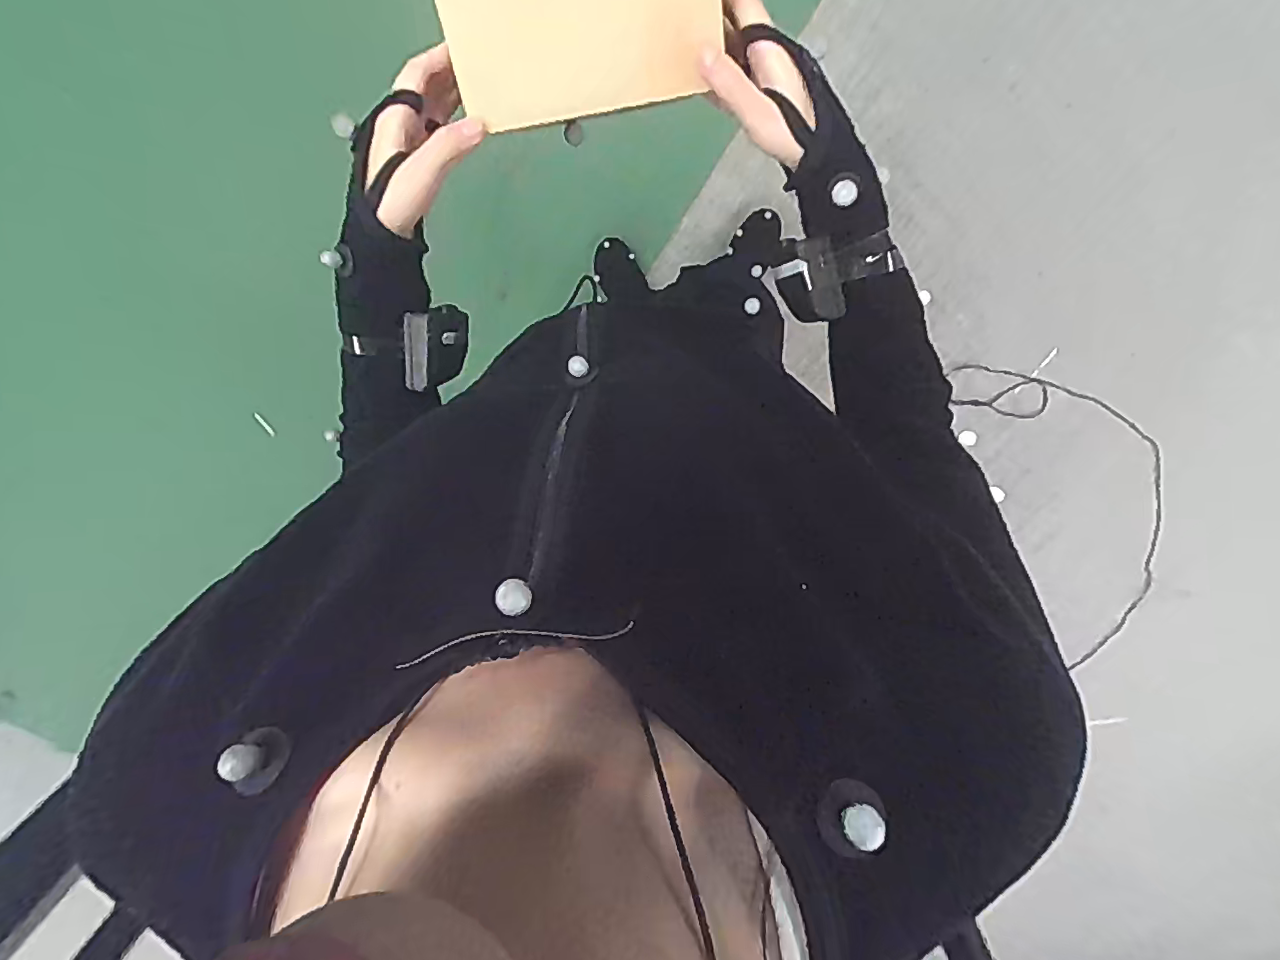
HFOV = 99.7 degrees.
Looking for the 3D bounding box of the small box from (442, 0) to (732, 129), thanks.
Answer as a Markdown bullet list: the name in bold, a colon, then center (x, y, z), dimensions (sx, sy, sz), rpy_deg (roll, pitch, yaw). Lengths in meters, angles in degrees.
- **small box**: center (-0.037, -0.346, 0.354), dimensions (0.168, 0.176, 0.179), rpy_deg (-8, 123, 3)
